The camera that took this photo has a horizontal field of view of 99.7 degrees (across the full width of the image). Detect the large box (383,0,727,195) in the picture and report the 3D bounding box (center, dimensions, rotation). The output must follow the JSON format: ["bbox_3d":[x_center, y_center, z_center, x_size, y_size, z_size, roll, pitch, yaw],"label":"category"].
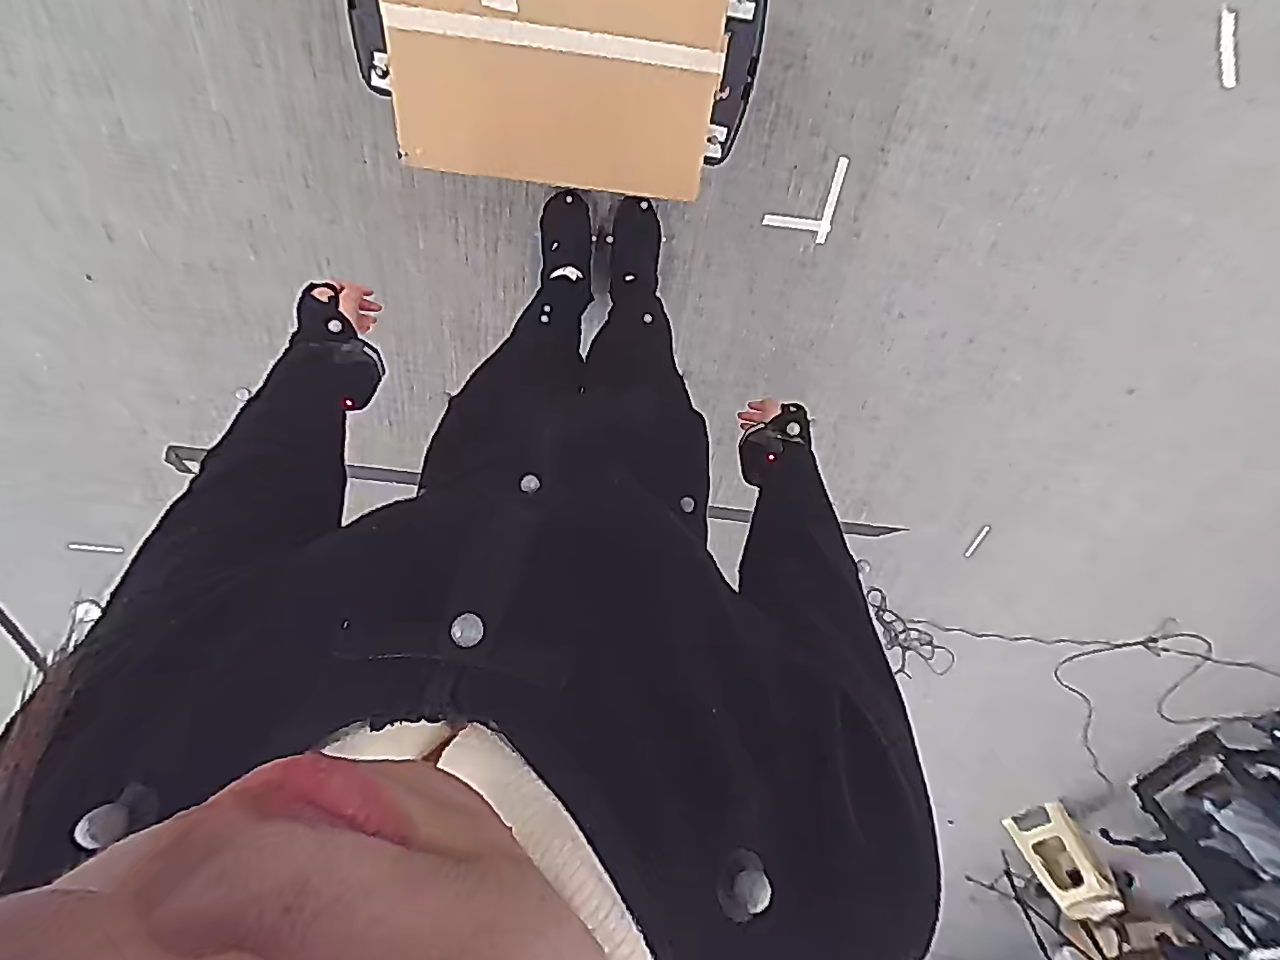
[{"bbox_3d":[-0.102,-0.619,0.761,0.408,0.320,0.320,5,126,-5],"label":"large box"}]
